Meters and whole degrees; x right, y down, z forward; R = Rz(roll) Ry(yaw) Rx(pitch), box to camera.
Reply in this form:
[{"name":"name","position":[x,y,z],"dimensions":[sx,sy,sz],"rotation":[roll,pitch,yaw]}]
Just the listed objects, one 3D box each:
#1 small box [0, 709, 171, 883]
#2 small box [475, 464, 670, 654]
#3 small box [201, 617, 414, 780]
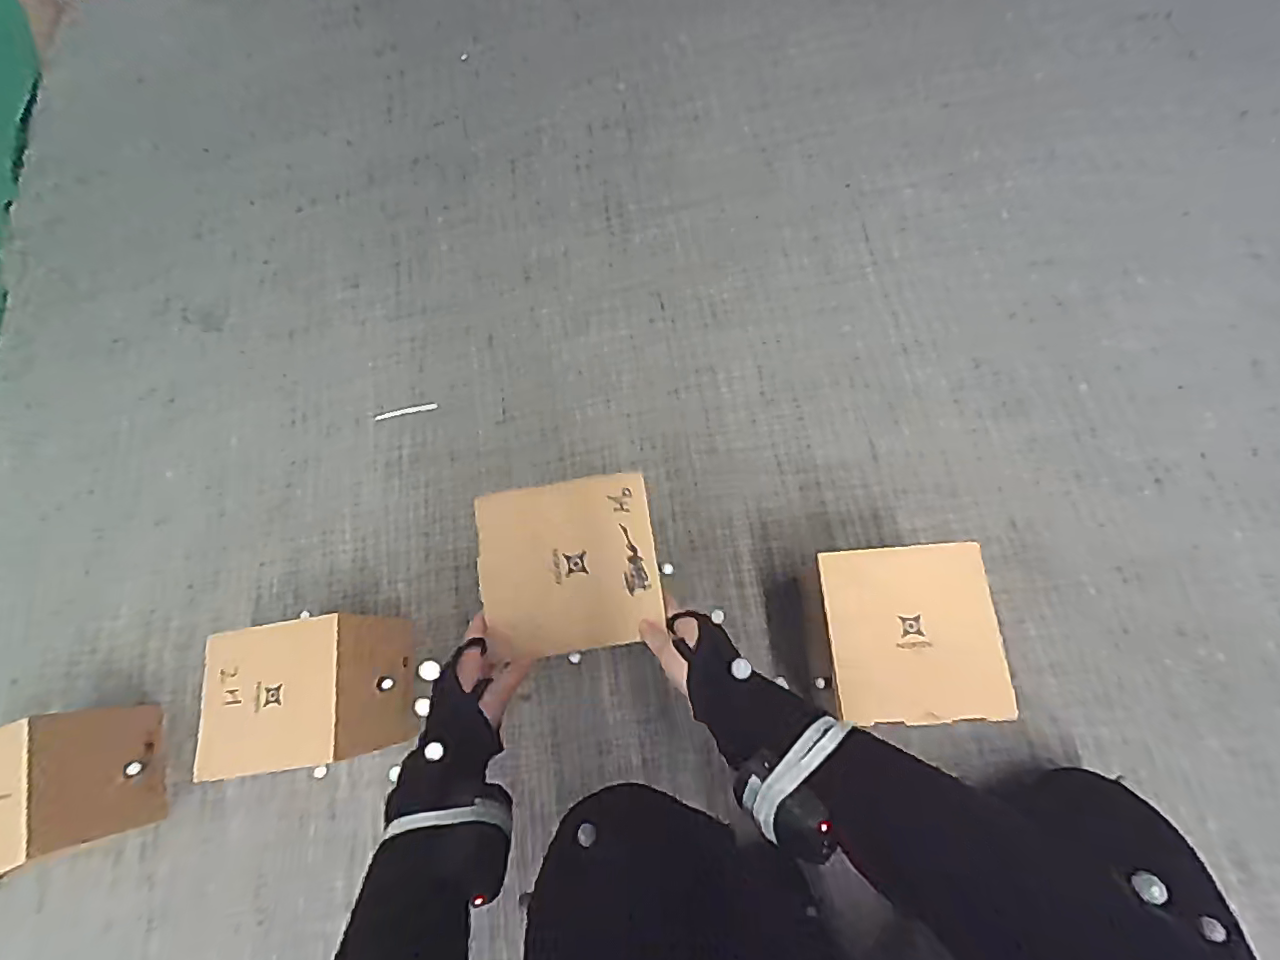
[{"name":"small box","position":[-0.787,0.424,0.725],"dimensions":[0.179,0.176,0.168],"rotation":[-22,71,1]},{"name":"small box","position":[-0.065,0.093,0.602],"dimensions":[0.179,0.176,0.168],"rotation":[-9,77,1]},{"name":"small box","position":[-0.417,0.277,0.710],"dimensions":[0.179,0.176,0.168],"rotation":[-10,71,6]}]
